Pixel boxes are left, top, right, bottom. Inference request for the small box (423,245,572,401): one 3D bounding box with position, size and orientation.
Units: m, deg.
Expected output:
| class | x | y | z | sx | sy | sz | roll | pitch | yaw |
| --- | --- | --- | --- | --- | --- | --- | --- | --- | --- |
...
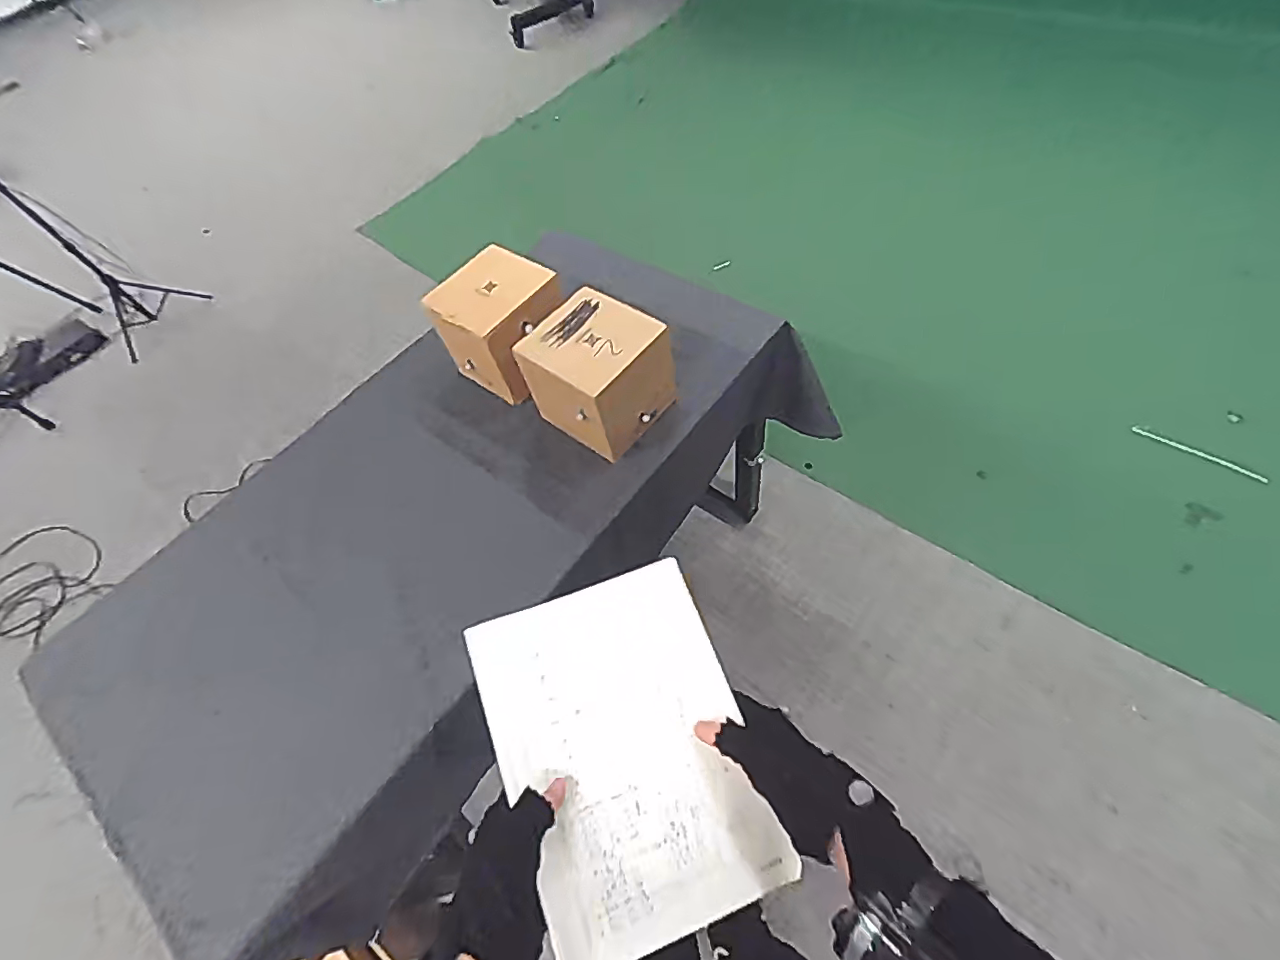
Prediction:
| class | x | y | z | sx | sy | sz | roll | pitch | yaw |
| --- | --- | --- | --- | --- | --- | --- | --- | --- | --- |
| small box | -0.240 | -0.278 | 0.967 | 0.168 | 0.176 | 0.179 | 32 | 69 | 25 |
